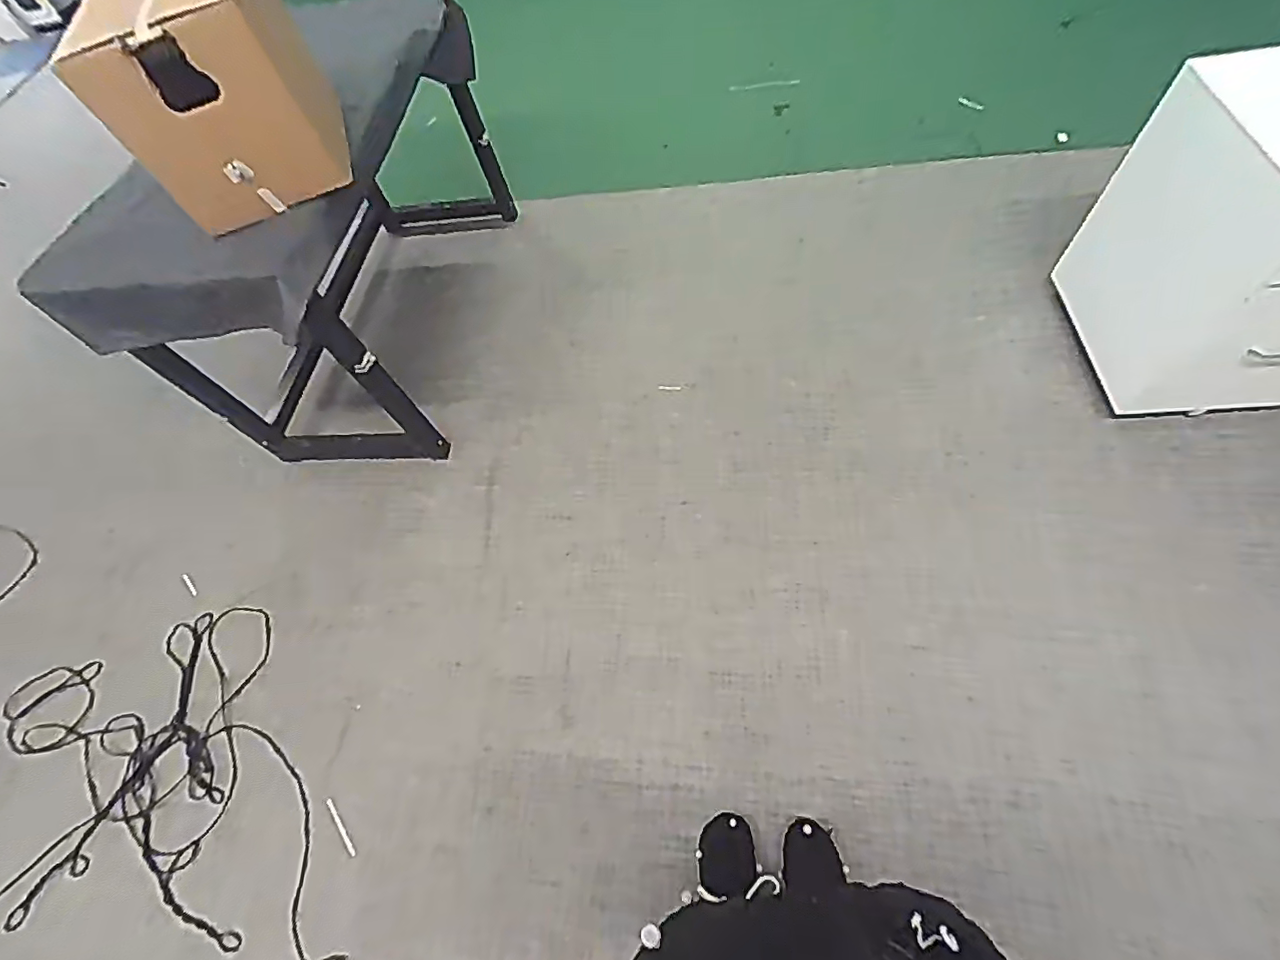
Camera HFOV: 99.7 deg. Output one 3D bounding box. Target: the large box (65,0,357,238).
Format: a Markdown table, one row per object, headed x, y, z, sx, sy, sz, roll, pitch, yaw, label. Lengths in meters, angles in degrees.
| x | y | z | sx | sy | sz | roll | pitch | yaw | label |
| --- | --- | --- | --- | --- | --- | --- | --- | --- | --- |
| -0.820 | -0.774 | 1.092 | 0.320 | 0.320 | 0.408 | -23 | 58 | -3 | large box |
